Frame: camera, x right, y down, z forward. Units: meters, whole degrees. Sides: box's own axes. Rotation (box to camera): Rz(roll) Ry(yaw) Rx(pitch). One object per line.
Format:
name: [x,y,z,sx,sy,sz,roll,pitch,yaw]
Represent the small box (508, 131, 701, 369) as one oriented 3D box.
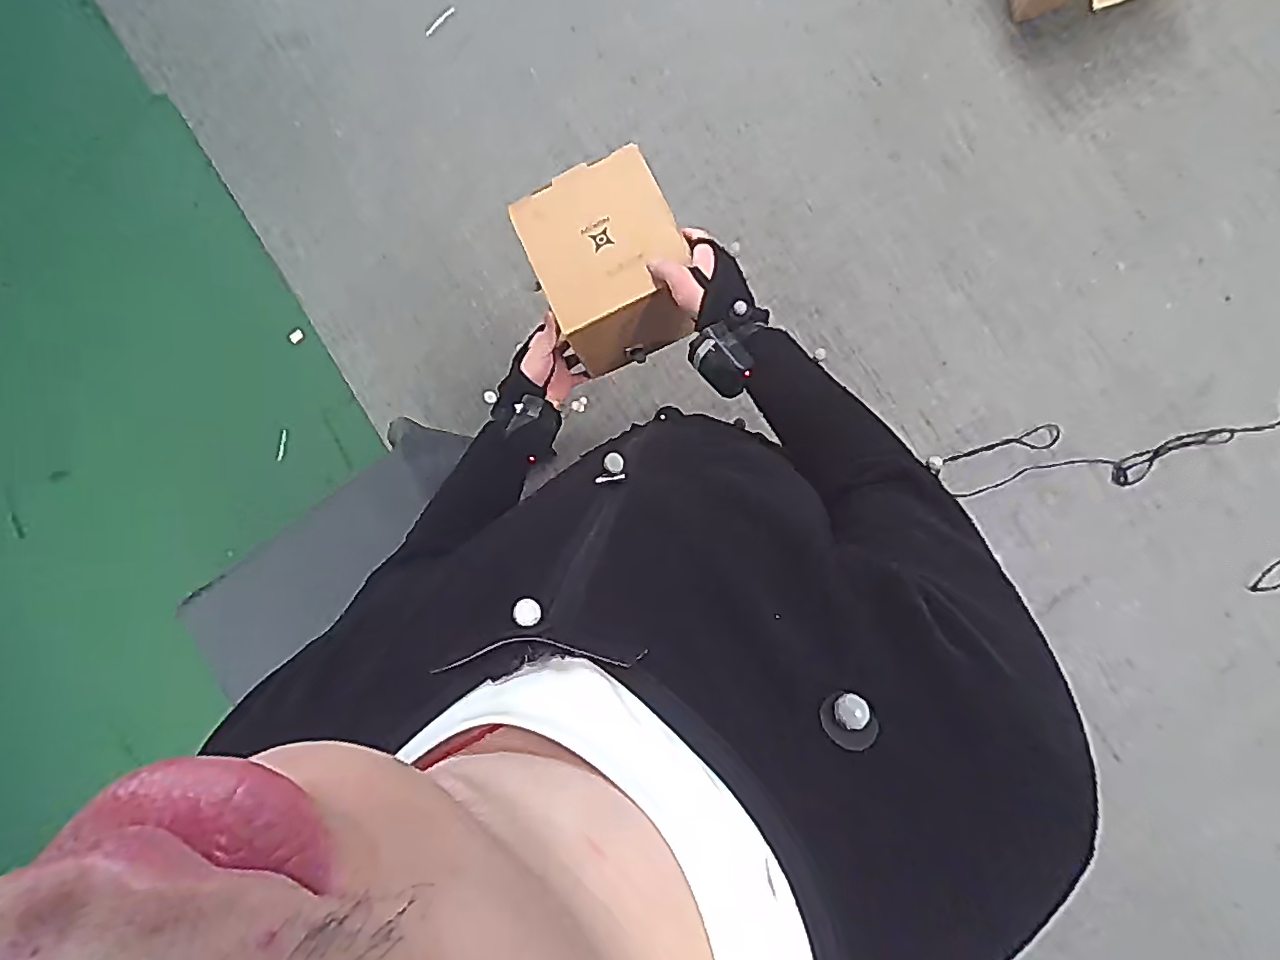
small box: [-0.033,-0.263,0.659,0.168,0.176,0.179,-23,81,5]
